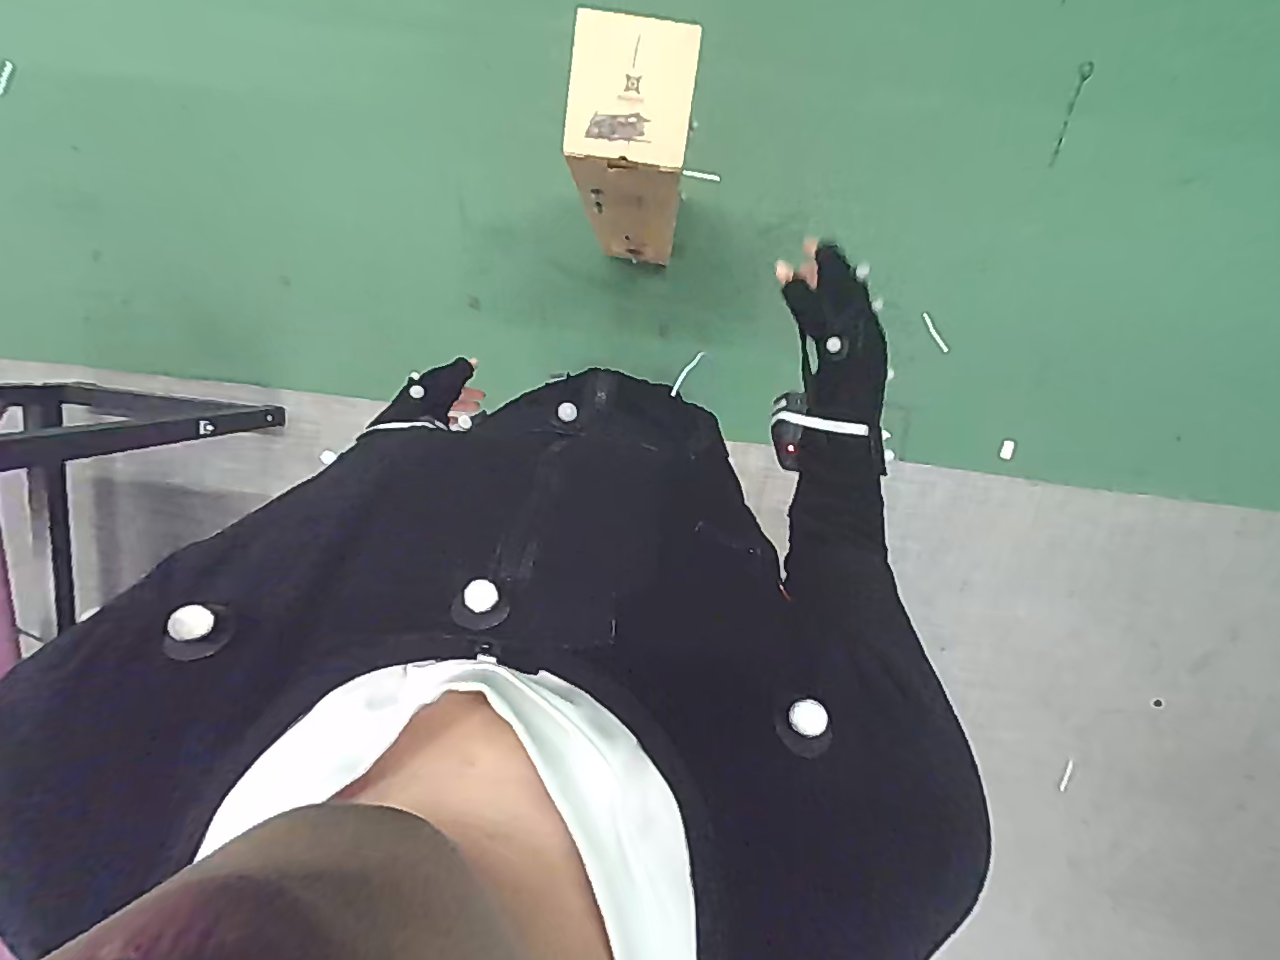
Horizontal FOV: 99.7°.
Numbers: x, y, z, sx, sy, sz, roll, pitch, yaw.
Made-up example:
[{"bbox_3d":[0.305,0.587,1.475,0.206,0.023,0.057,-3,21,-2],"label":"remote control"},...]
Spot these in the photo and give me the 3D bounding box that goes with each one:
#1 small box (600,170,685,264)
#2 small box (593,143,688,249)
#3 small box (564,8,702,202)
[{"bbox_3d":[0.005,-0.628,1.276,0.168,0.176,0.179,10,101,0],"label":"small box"},{"bbox_3d":[0.000,-0.597,1.117,0.168,0.176,0.179,8,102,0],"label":"small box"},{"bbox_3d":[-0.009,-0.531,0.794,0.168,0.176,0.179,8,101,-1],"label":"small box"}]
